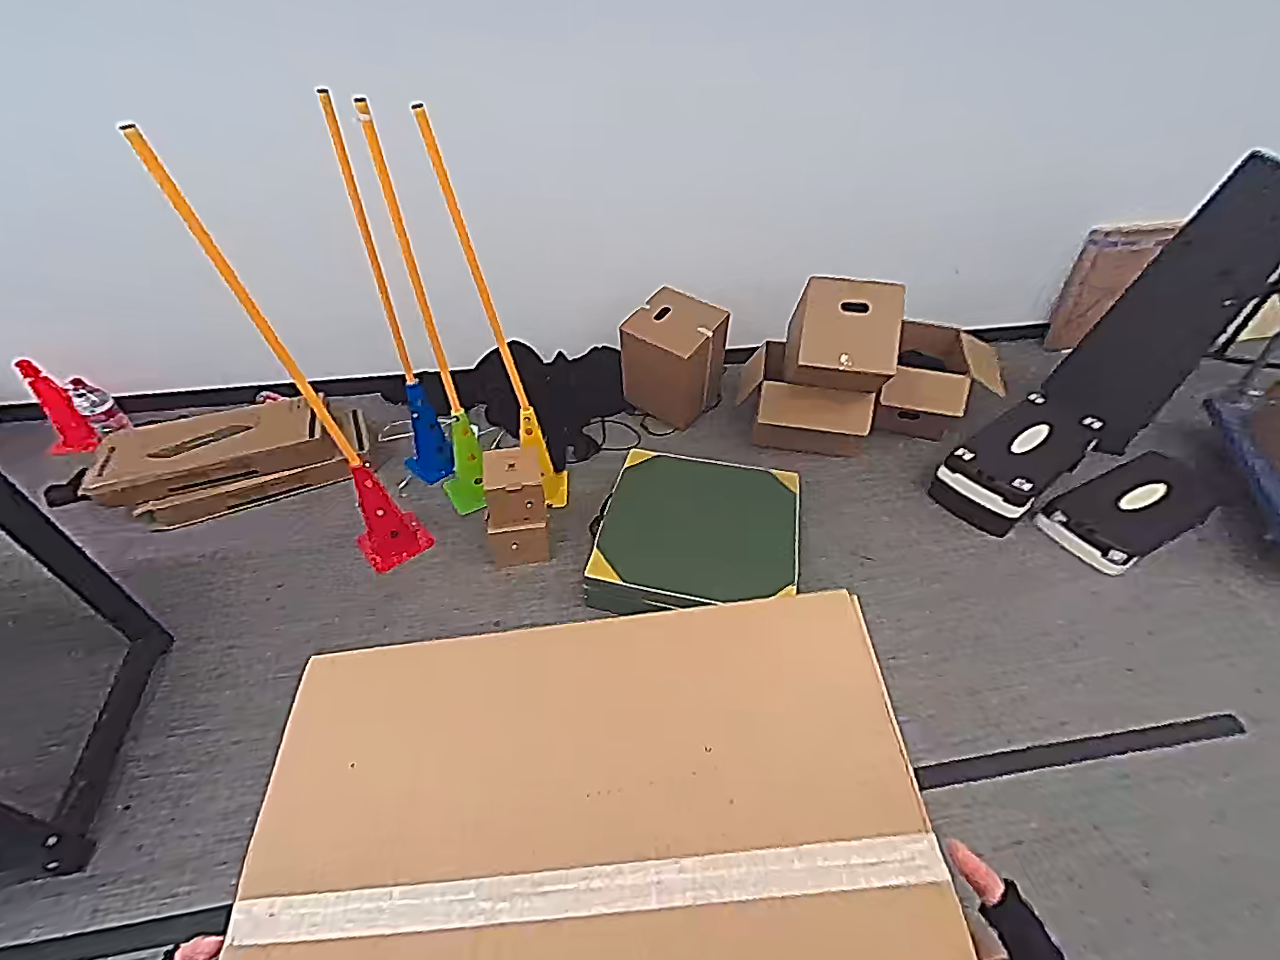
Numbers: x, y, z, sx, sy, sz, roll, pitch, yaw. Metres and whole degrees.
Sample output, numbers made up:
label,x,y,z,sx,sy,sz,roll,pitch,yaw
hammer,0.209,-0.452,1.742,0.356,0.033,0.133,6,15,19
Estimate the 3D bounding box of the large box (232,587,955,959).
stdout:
label,x,y,z,sx,sy,sz,roll,pitch,yaw
large box,-0.017,0.315,0.434,0.408,0.320,0.320,-9,53,4
